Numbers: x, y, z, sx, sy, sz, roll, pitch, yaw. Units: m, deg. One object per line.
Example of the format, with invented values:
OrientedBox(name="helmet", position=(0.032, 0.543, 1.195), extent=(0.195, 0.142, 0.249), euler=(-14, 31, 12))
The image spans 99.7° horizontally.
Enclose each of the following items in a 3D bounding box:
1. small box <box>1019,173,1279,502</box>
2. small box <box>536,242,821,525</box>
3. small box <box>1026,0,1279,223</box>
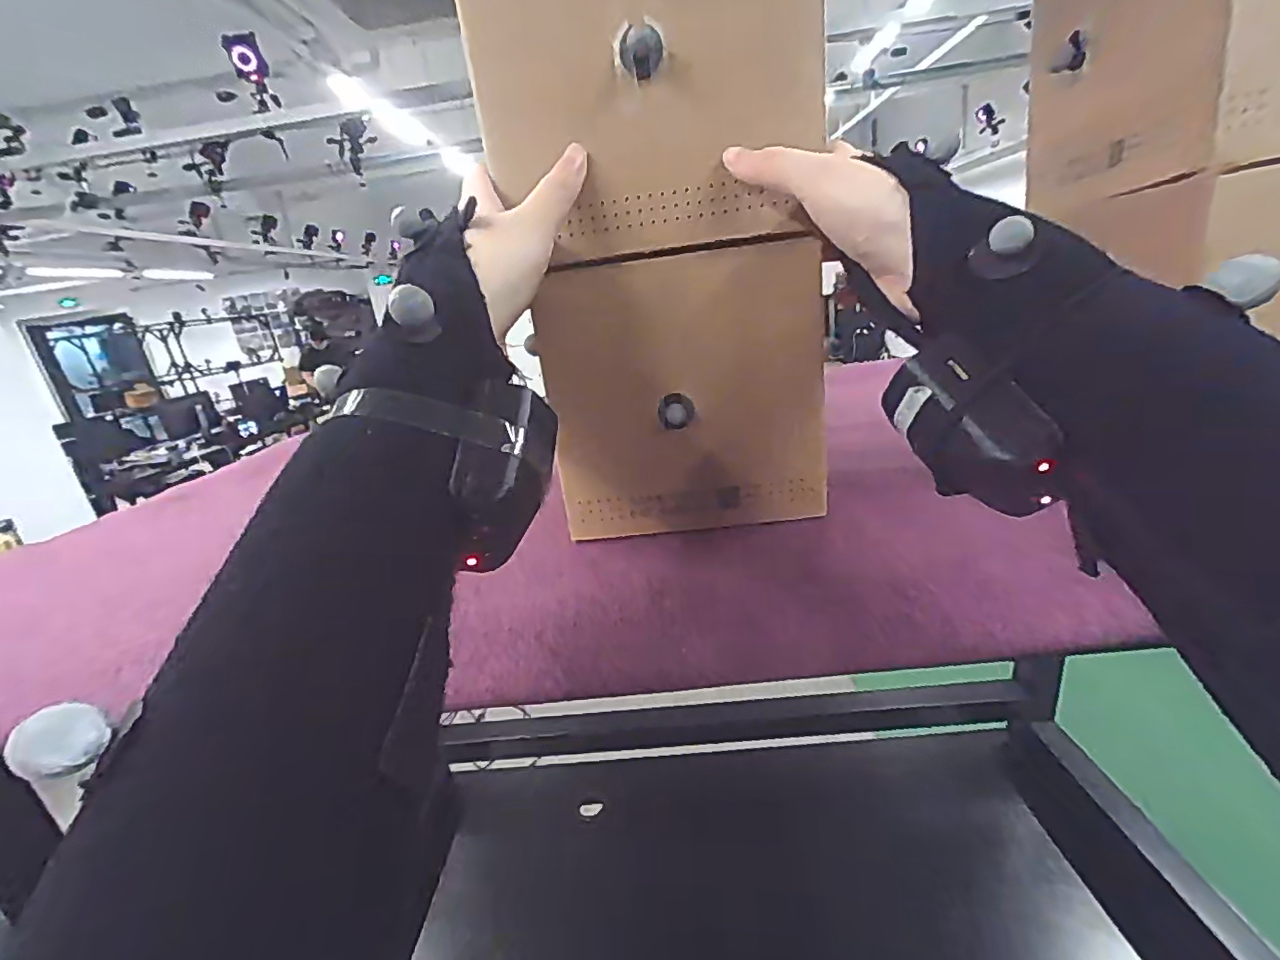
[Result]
OrientedBox(name="small box", position=(0.378, -0.095, 0.346), extent=(0.179, 0.176, 0.168), euler=(-7, 16, 9))
OrientedBox(name="small box", position=(0.034, -0.071, 0.408), extent=(0.168, 0.176, 0.179), euler=(-6, 18, 4))
OrientedBox(name="small box", position=(0.353, -0.251, 0.306), extent=(0.179, 0.176, 0.168), euler=(-5, 16, 12))
